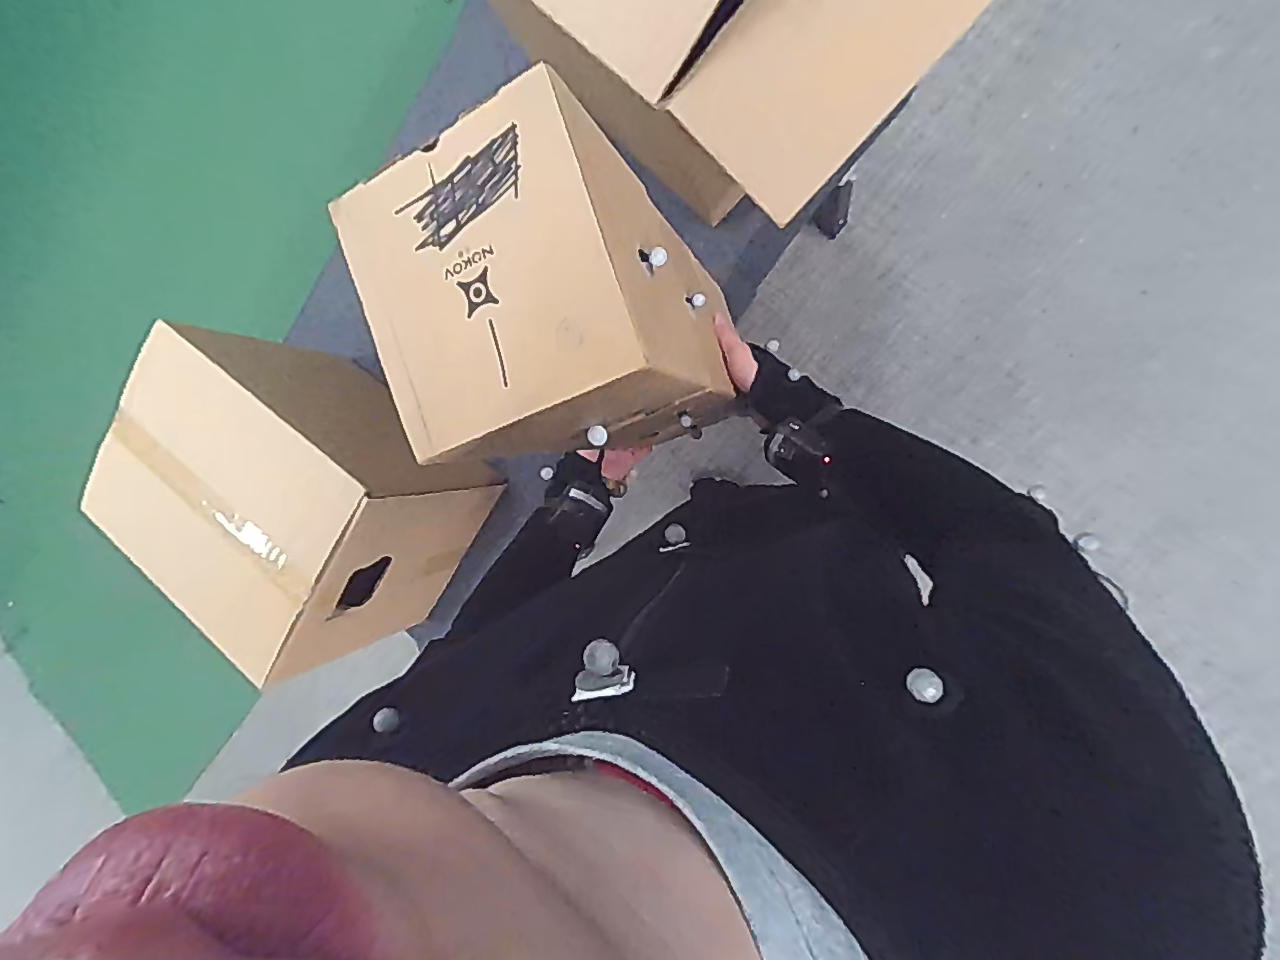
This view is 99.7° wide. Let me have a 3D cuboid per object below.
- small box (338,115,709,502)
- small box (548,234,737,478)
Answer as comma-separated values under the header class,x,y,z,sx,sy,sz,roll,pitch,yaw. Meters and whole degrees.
class,x,y,z,sx,sy,sz,roll,pitch,yaw
small box,-0.064,-0.099,0.386,0.168,0.176,0.179,-18,91,20
small box,-0.013,-0.115,0.542,0.168,0.176,0.179,-19,89,20
